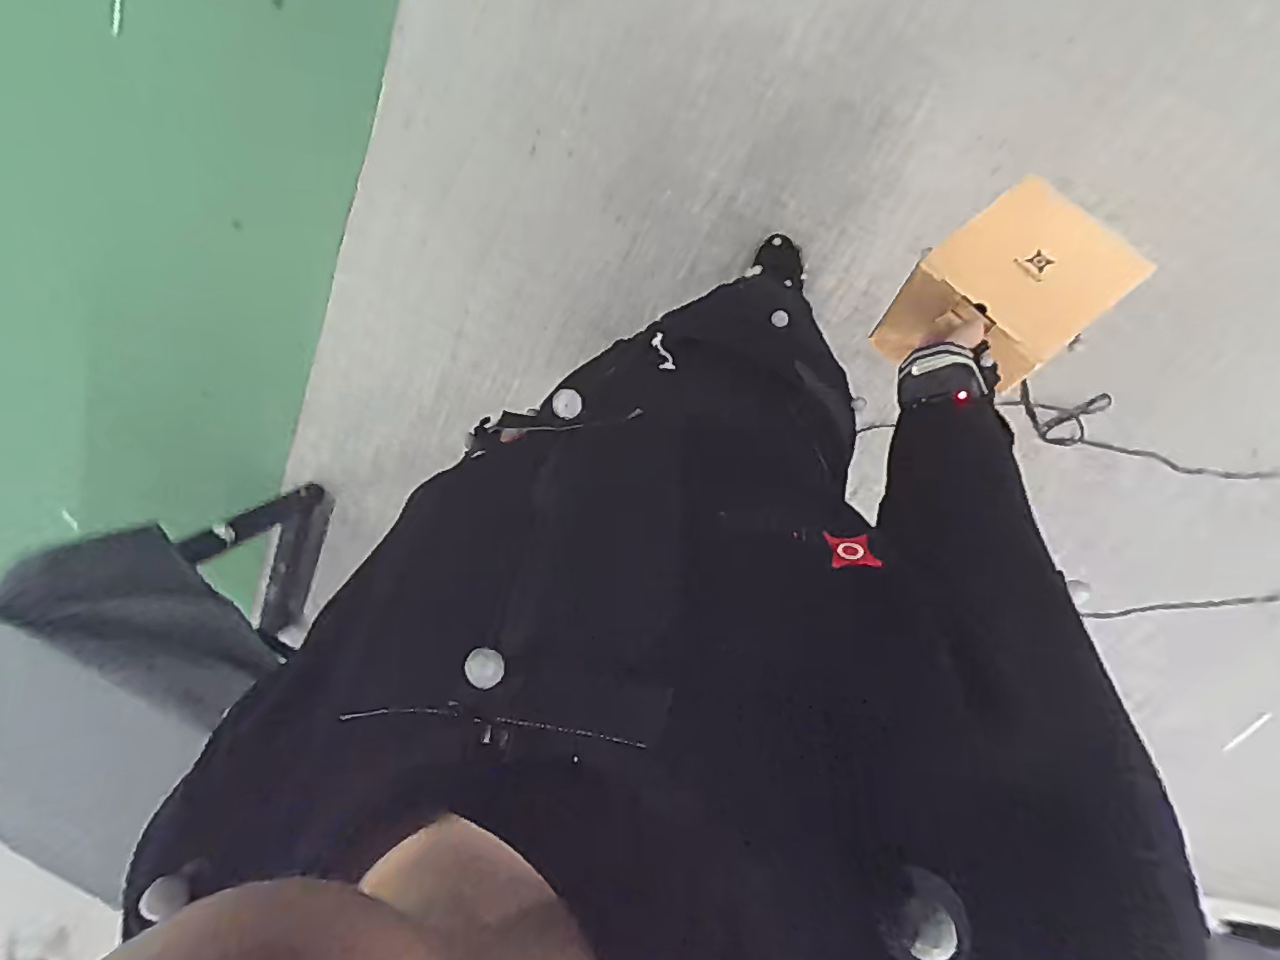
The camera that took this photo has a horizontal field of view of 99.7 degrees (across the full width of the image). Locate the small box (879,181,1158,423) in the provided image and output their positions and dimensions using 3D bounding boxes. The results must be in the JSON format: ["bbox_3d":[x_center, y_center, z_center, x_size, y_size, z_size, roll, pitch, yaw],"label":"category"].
[{"bbox_3d":[0.426,-0.199,0.644,0.179,0.176,0.168,-37,76,-7],"label":"small box"}]
